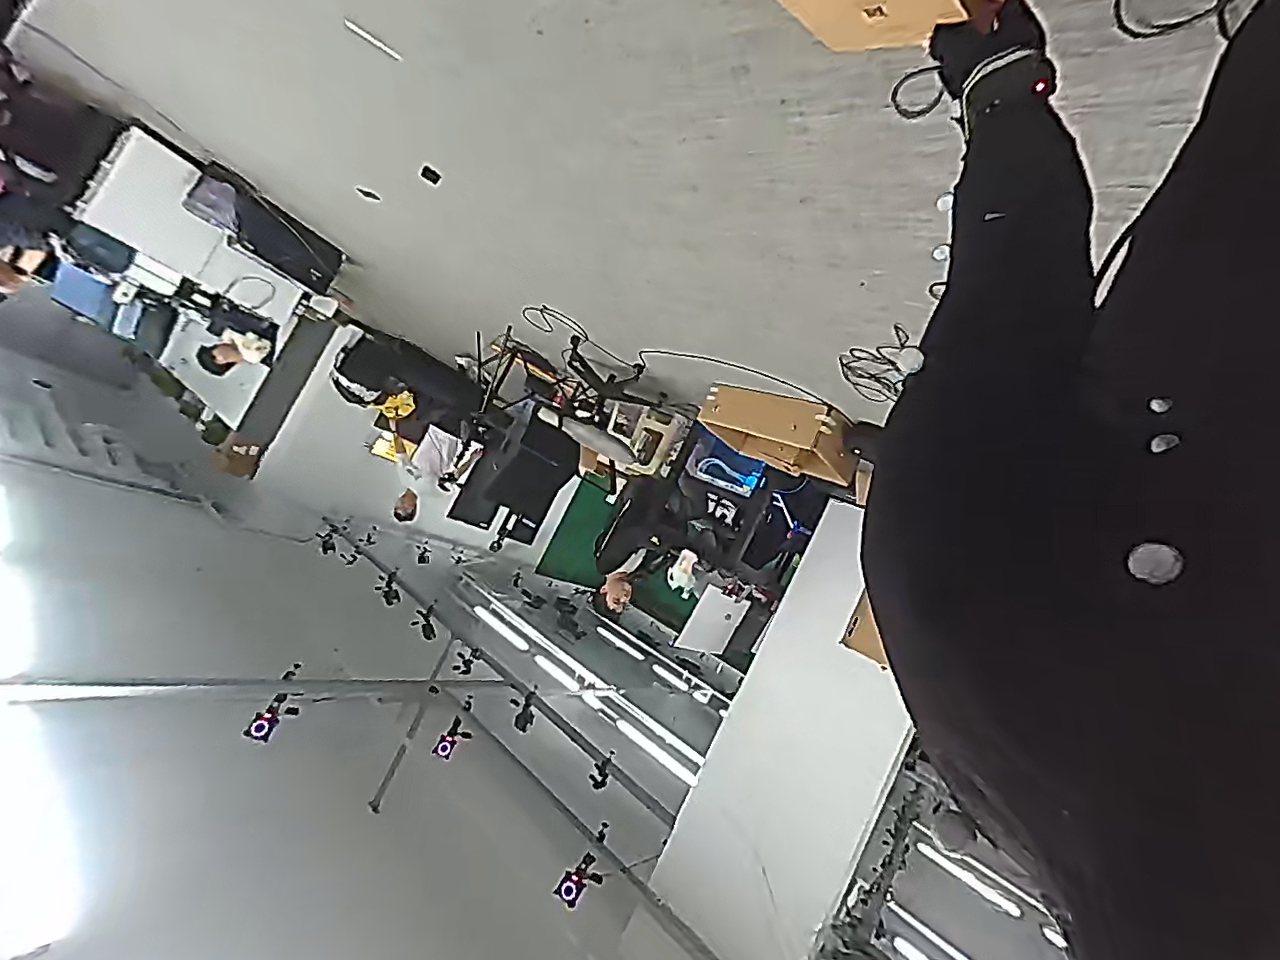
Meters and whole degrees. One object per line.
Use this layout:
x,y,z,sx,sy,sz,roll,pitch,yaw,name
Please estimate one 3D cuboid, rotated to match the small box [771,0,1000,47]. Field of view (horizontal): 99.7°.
0.242,-0.533,0.495,0.179,0.176,0.168,-17,-143,-41,small box
